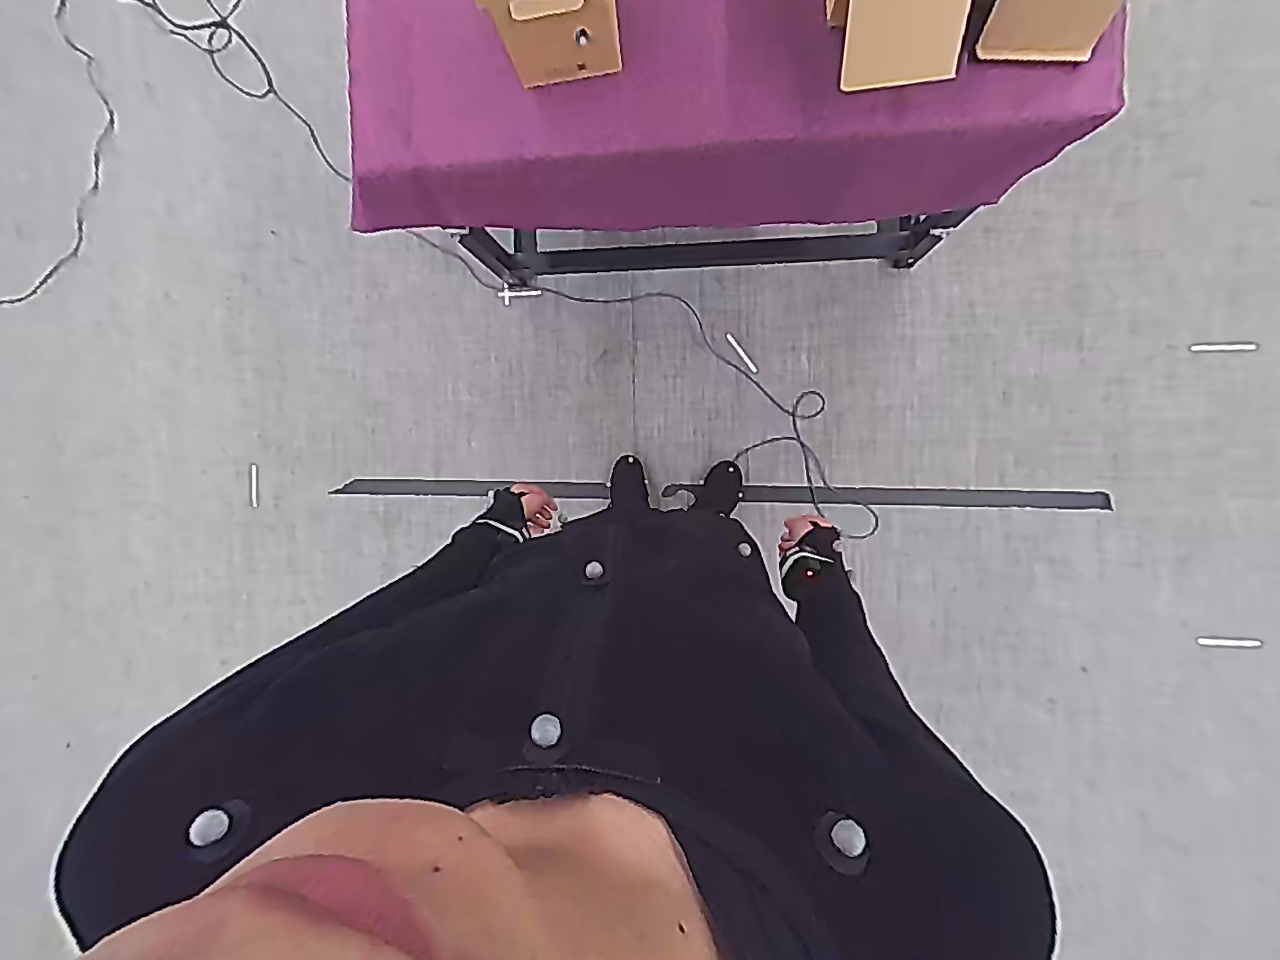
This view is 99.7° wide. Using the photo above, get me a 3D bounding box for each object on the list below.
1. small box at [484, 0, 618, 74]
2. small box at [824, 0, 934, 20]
[{"bbox_3d":[-0.129,-0.744,0.802,0.168,0.176,0.179,-4,92,6],"label":"small box"},{"bbox_3d":[0.353,-0.795,0.744,0.168,0.176,0.179,-3,93,7],"label":"small box"}]
